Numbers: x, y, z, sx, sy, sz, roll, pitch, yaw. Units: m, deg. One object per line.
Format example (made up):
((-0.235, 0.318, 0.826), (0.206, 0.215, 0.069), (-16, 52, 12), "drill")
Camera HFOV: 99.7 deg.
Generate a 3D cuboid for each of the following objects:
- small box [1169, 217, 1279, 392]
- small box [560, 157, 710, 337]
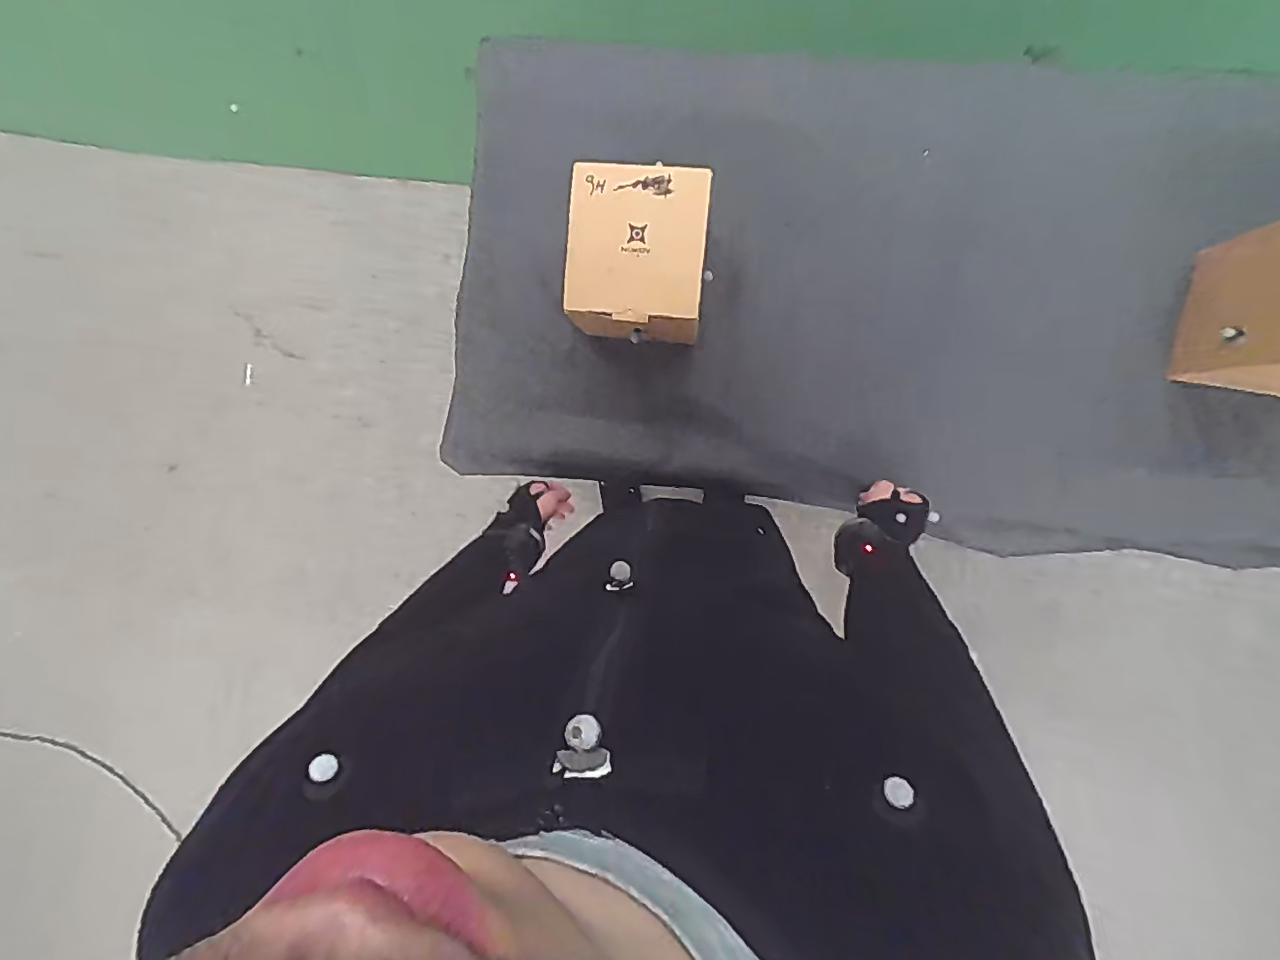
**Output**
((0.800, -0.206, 0.644), (0.168, 0.176, 0.179), (10, 95, 4), "small box")
((0.000, -0.292, 0.714), (0.168, 0.176, 0.179), (6, 96, 4), "small box")
